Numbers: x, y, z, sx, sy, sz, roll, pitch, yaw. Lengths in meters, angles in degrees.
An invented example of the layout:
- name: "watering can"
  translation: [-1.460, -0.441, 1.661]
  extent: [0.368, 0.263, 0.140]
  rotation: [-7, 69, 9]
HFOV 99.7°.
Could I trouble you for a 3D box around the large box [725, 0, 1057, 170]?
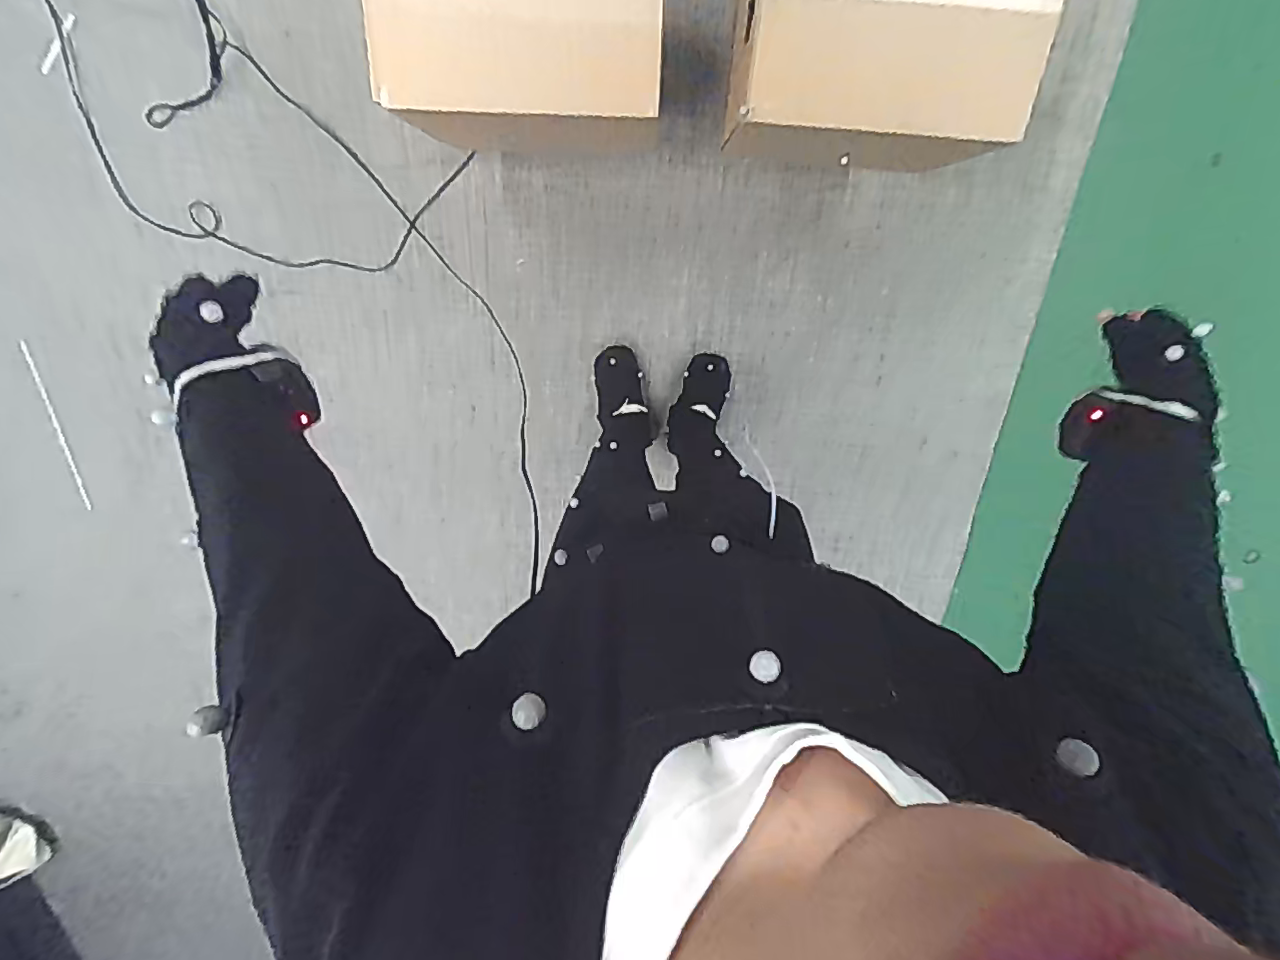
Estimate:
- name: "large box"
  translation: [0.371, -0.704, 0.876]
  extent: [0.408, 0.320, 0.320]
  rotation: [5, 112, 0]
